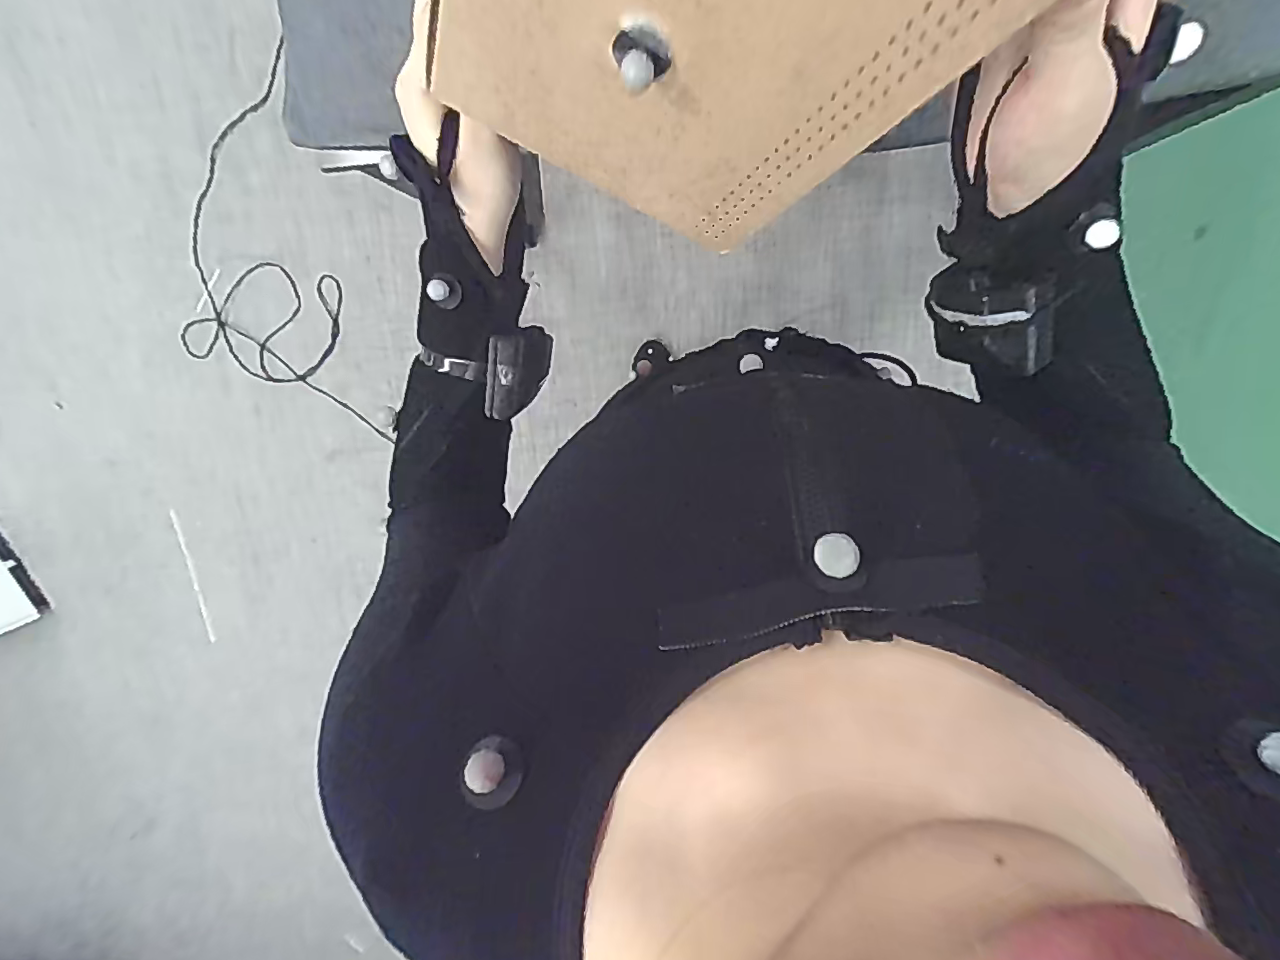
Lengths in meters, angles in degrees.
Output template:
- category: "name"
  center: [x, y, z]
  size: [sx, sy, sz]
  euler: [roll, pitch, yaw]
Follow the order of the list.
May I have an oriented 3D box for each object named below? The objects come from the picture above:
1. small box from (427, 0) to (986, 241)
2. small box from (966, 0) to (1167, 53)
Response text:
- category: "small box"
  center: [0.029, -0.233, 0.212]
  size: [0.176, 0.179, 0.168]
  euler: [17, 81, -23]
- category: "small box"
  center: [0.418, -0.535, 0.488]
  size: [0.168, 0.176, 0.179]
  euler: [0, 104, 7]
